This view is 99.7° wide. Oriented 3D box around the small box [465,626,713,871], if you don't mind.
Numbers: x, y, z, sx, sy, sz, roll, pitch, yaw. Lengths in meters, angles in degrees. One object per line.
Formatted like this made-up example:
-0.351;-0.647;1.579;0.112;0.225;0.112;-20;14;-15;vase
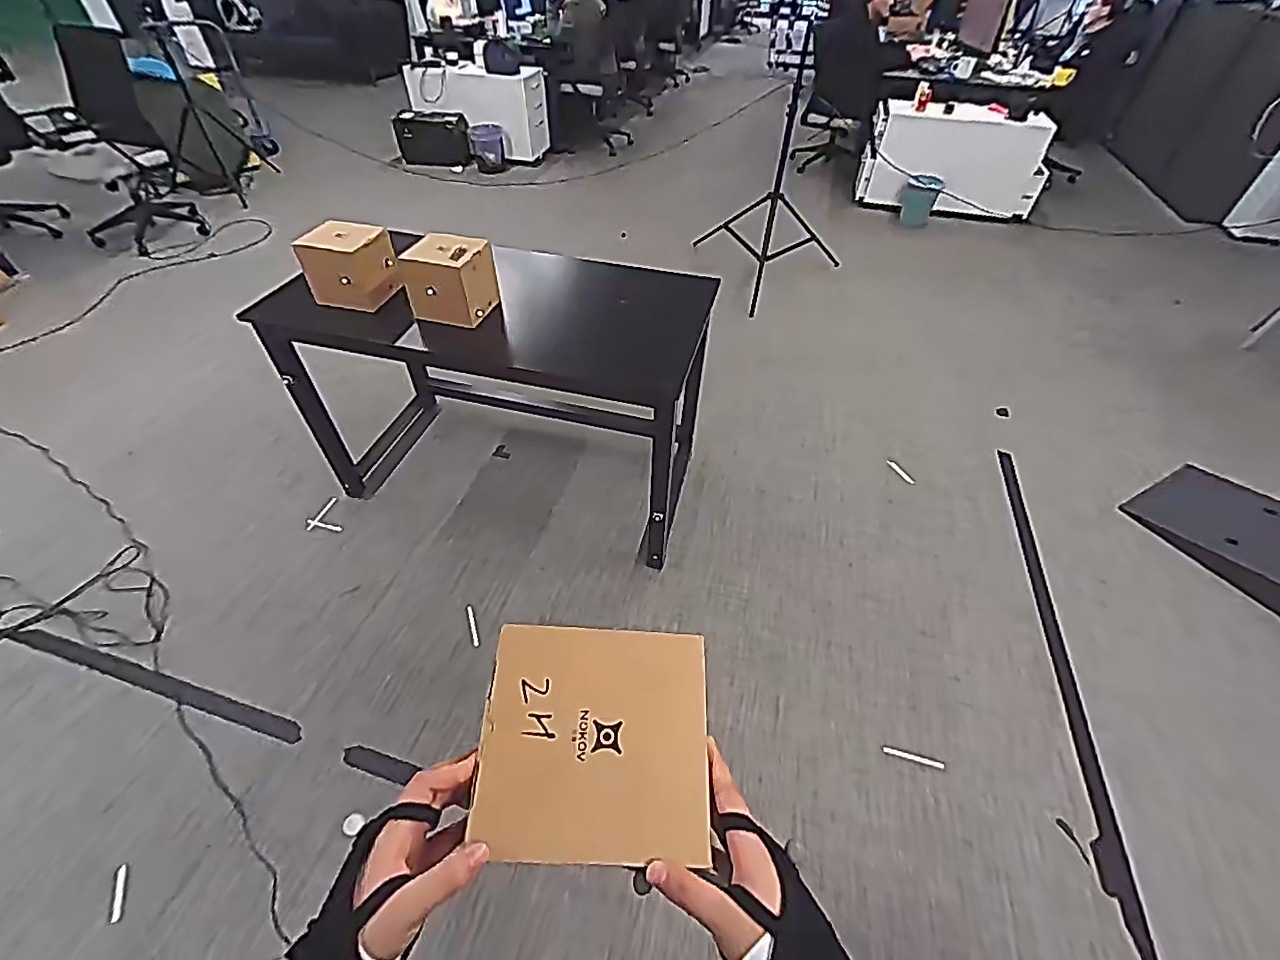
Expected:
-0.038;0.242;0.486;0.179;0.176;0.168;4;56;-3;small box

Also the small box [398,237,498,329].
-0.497;-0.518;1.431;0.179;0.176;0.168;12;47;11;small box

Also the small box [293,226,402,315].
-0.784;-0.569;1.474;0.179;0.176;0.168;9;46;8;small box
